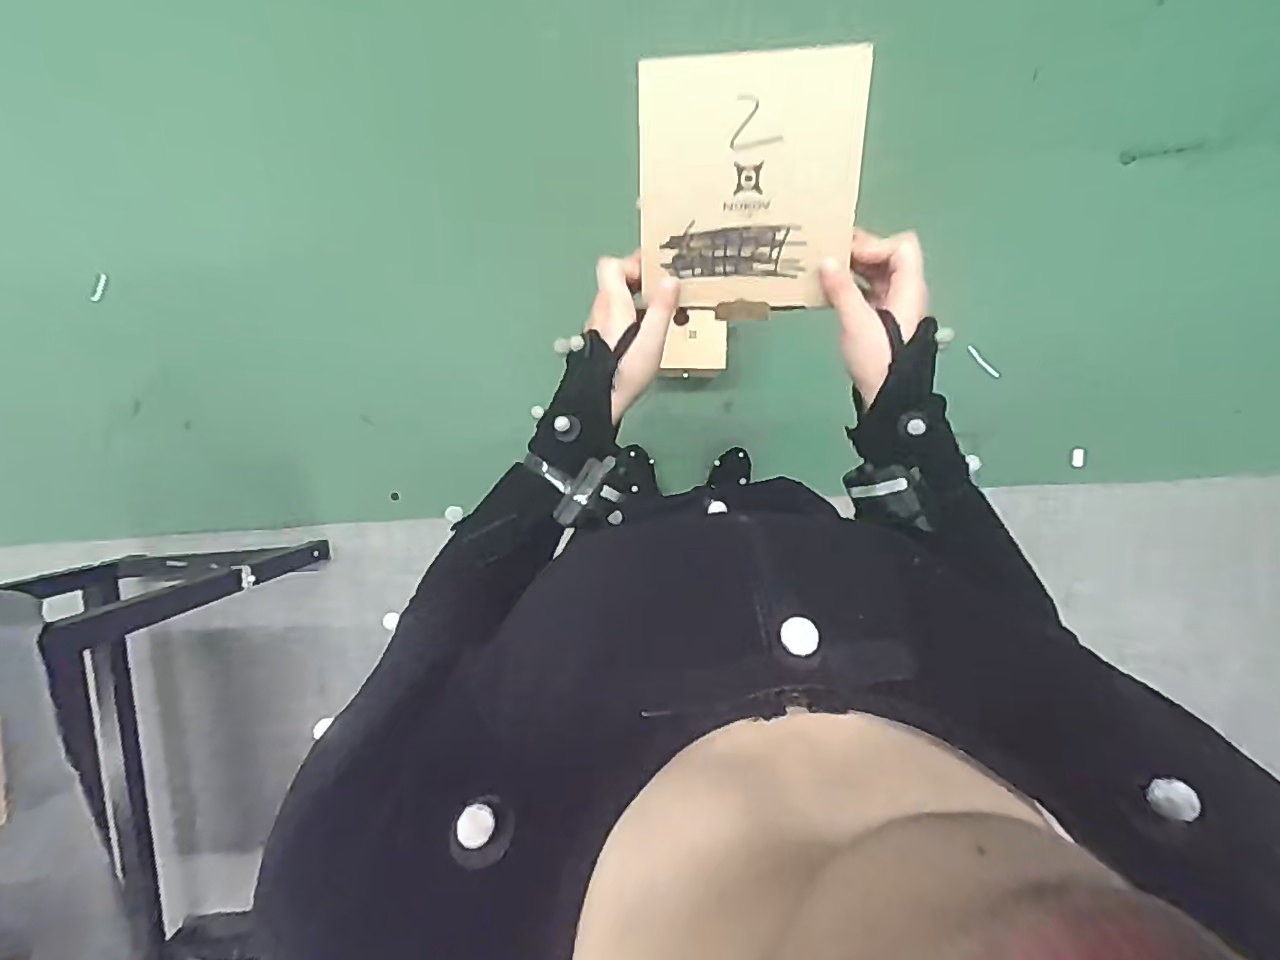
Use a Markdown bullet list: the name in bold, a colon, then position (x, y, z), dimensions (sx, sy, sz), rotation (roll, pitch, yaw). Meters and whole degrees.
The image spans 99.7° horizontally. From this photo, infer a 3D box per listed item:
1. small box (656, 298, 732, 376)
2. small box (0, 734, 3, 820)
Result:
- **small box**: position (0.131, -0.357, 1.373), dimensions (0.179, 0.176, 0.168), rotation (1, 95, 1)
- **small box**: position (-1.012, 0.427, 0.703), dimensions (0.179, 0.176, 0.168), rotation (2, 95, 2)
